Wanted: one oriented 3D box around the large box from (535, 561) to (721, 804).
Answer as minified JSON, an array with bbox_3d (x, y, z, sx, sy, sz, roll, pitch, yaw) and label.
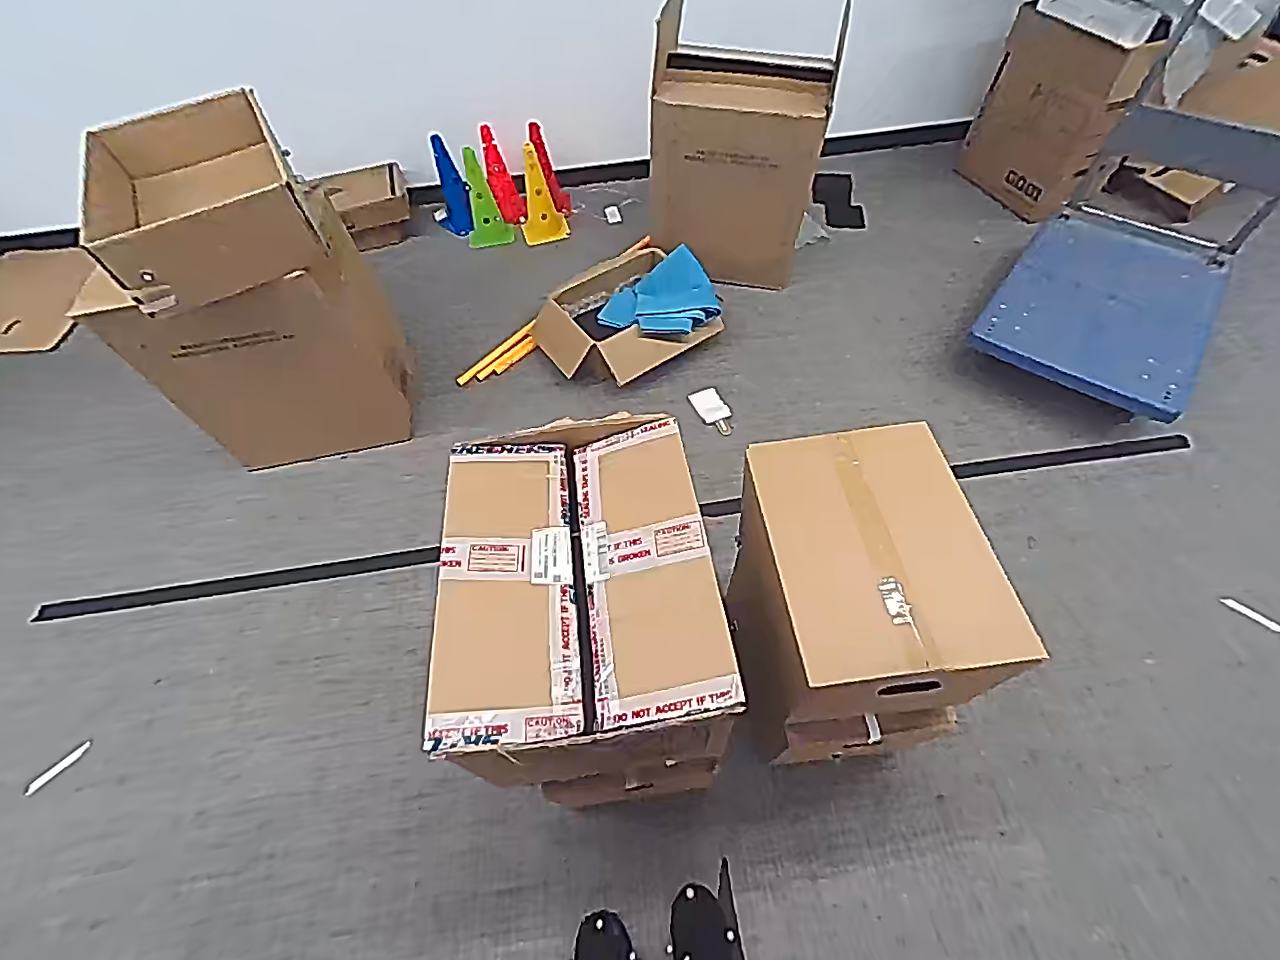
[{"bbox_3d":[-0.034,0.439,1.167,0.320,0.320,0.408,-9,56,-2],"label":"large box"}]
